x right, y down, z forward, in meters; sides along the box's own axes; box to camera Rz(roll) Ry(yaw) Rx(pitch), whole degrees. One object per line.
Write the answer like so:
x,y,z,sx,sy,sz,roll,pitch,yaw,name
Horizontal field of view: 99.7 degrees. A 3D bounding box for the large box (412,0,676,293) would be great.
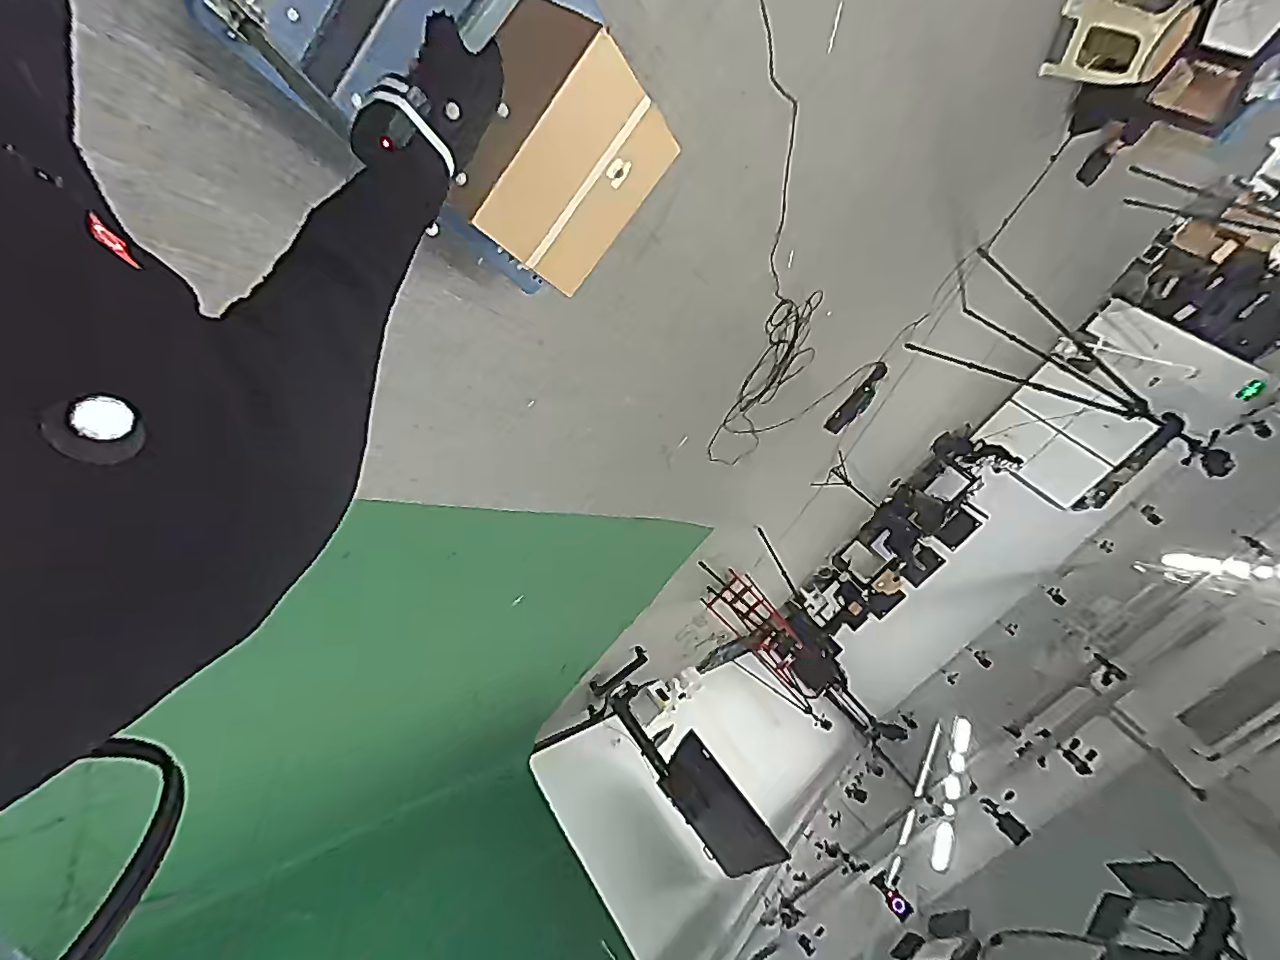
-0.207,-0.700,1.159,0.408,0.320,0.320,-51,152,13,large box
